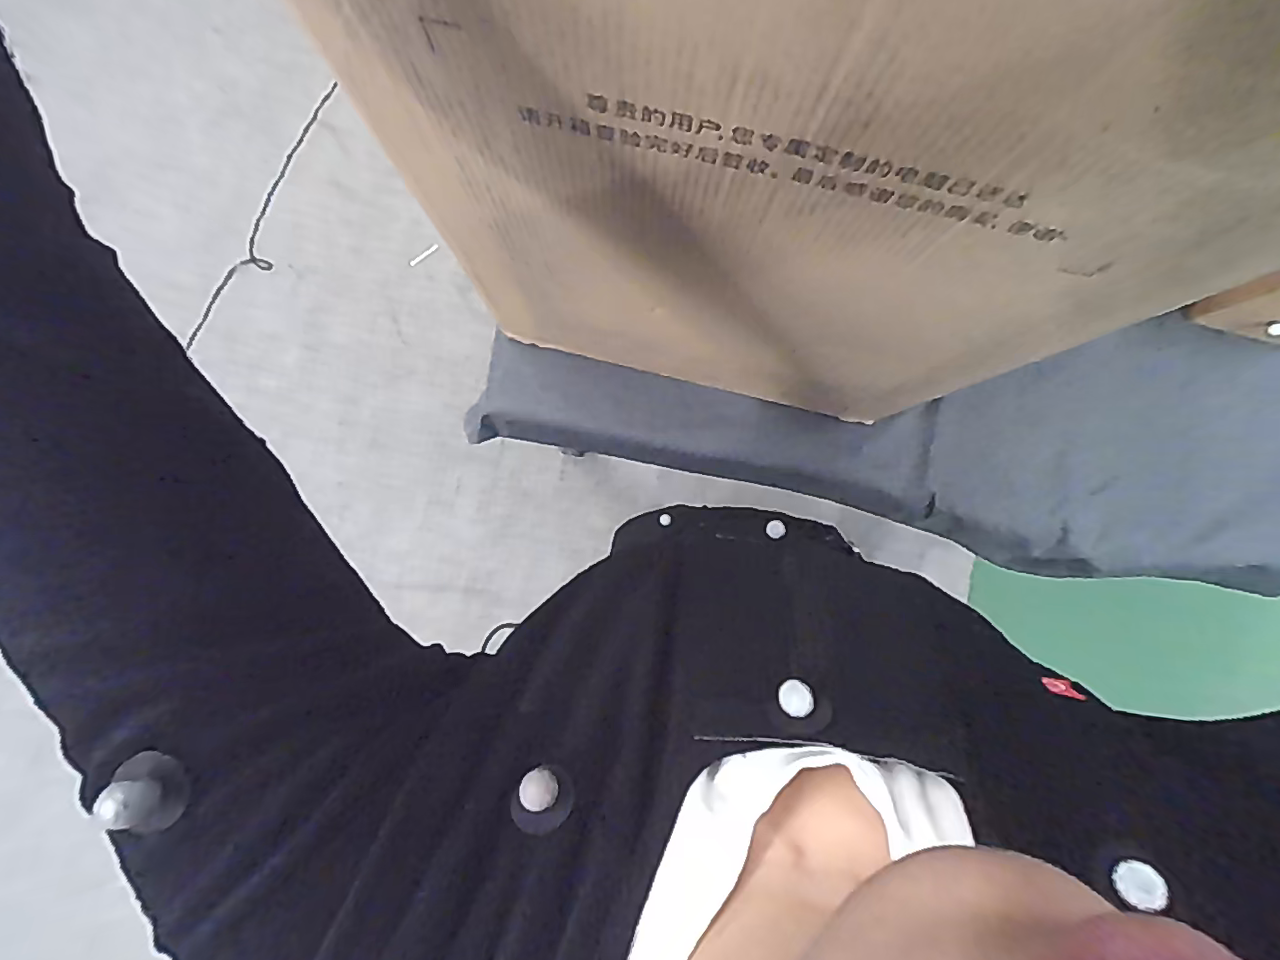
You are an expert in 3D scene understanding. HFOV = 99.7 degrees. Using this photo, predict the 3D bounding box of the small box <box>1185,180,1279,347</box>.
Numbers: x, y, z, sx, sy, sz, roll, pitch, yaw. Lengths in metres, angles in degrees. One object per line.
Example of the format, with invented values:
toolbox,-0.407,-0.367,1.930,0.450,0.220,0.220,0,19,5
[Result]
small box,0.899,-0.301,0.725,0.168,0.176,0.179,15,87,-1
